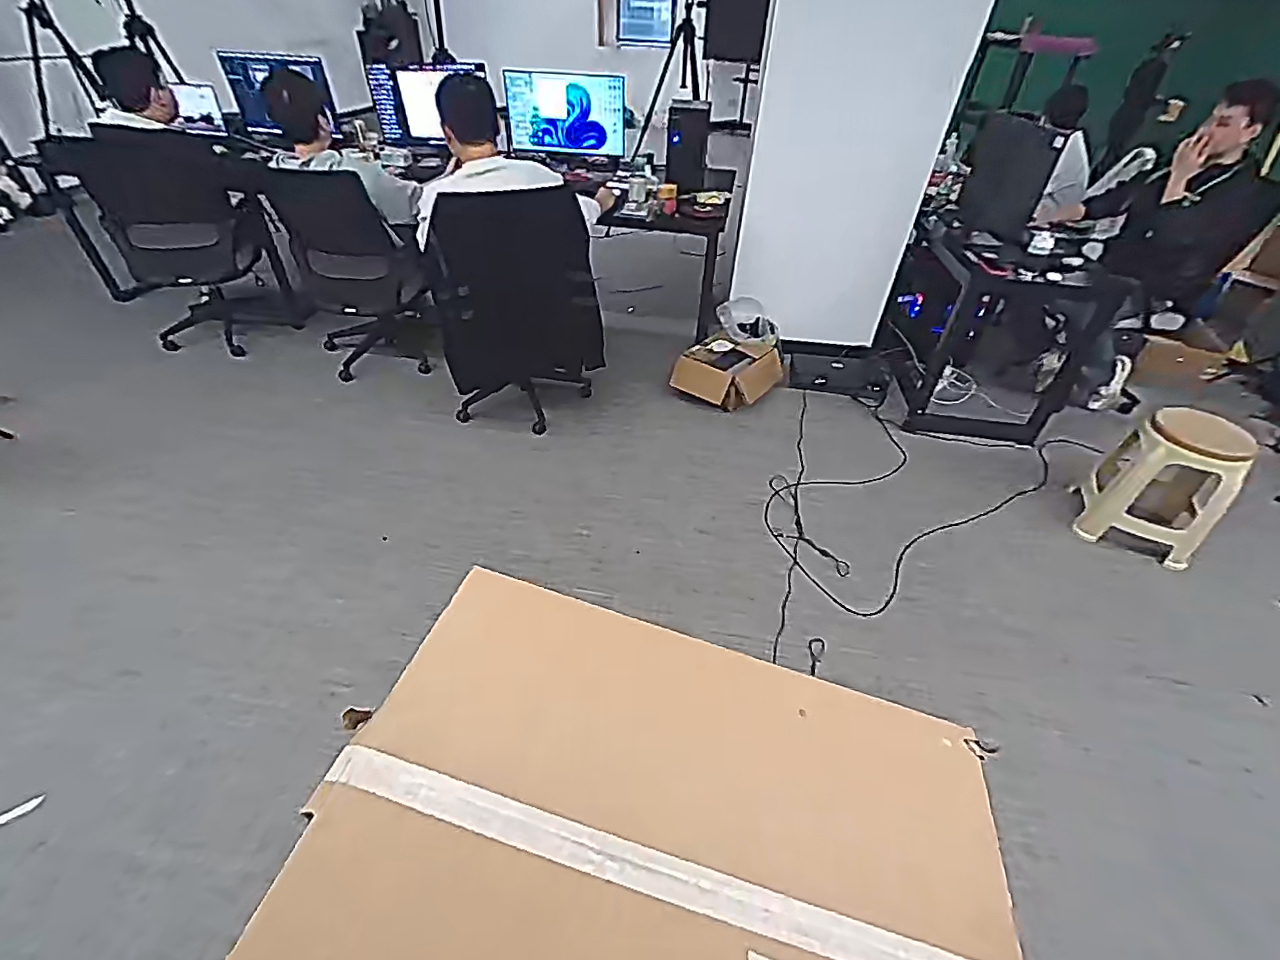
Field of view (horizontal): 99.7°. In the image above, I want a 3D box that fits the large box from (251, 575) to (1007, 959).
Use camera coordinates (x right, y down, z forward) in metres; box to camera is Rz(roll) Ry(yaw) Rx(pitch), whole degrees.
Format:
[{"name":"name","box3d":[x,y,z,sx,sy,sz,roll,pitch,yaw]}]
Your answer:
[{"name":"large box","box3d":[-0.006,0.336,0.421,0.408,0.320,0.320,18,44,3]}]
